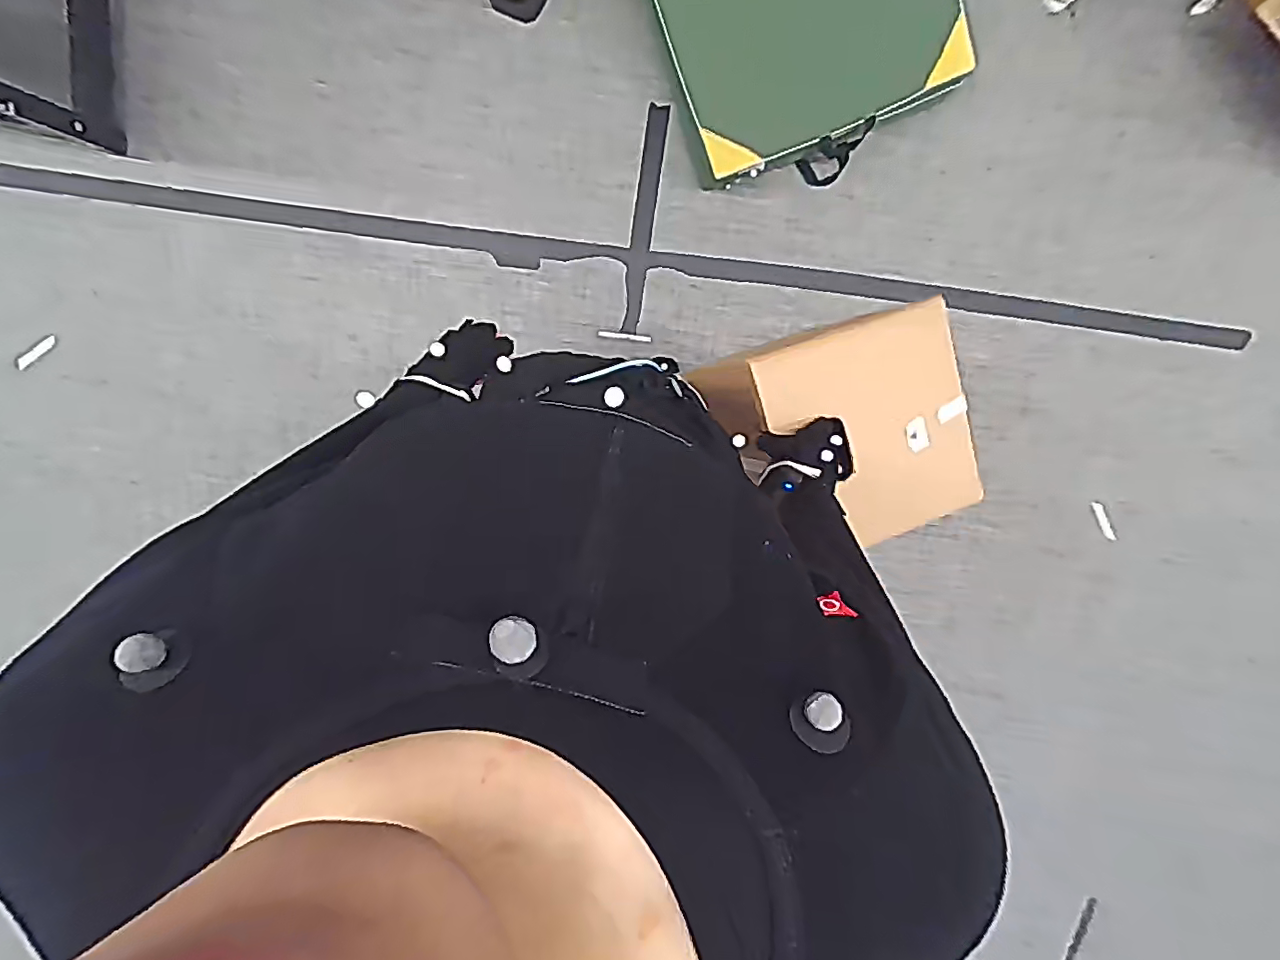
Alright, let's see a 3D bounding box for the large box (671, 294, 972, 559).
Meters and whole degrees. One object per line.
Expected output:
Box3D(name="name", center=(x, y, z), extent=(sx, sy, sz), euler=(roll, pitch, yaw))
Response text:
Box3D(name="large box", center=(0.289, -0.099, 0.971), extent=(0.320, 0.408, 0.320), euler=(-20, 101, -8))
